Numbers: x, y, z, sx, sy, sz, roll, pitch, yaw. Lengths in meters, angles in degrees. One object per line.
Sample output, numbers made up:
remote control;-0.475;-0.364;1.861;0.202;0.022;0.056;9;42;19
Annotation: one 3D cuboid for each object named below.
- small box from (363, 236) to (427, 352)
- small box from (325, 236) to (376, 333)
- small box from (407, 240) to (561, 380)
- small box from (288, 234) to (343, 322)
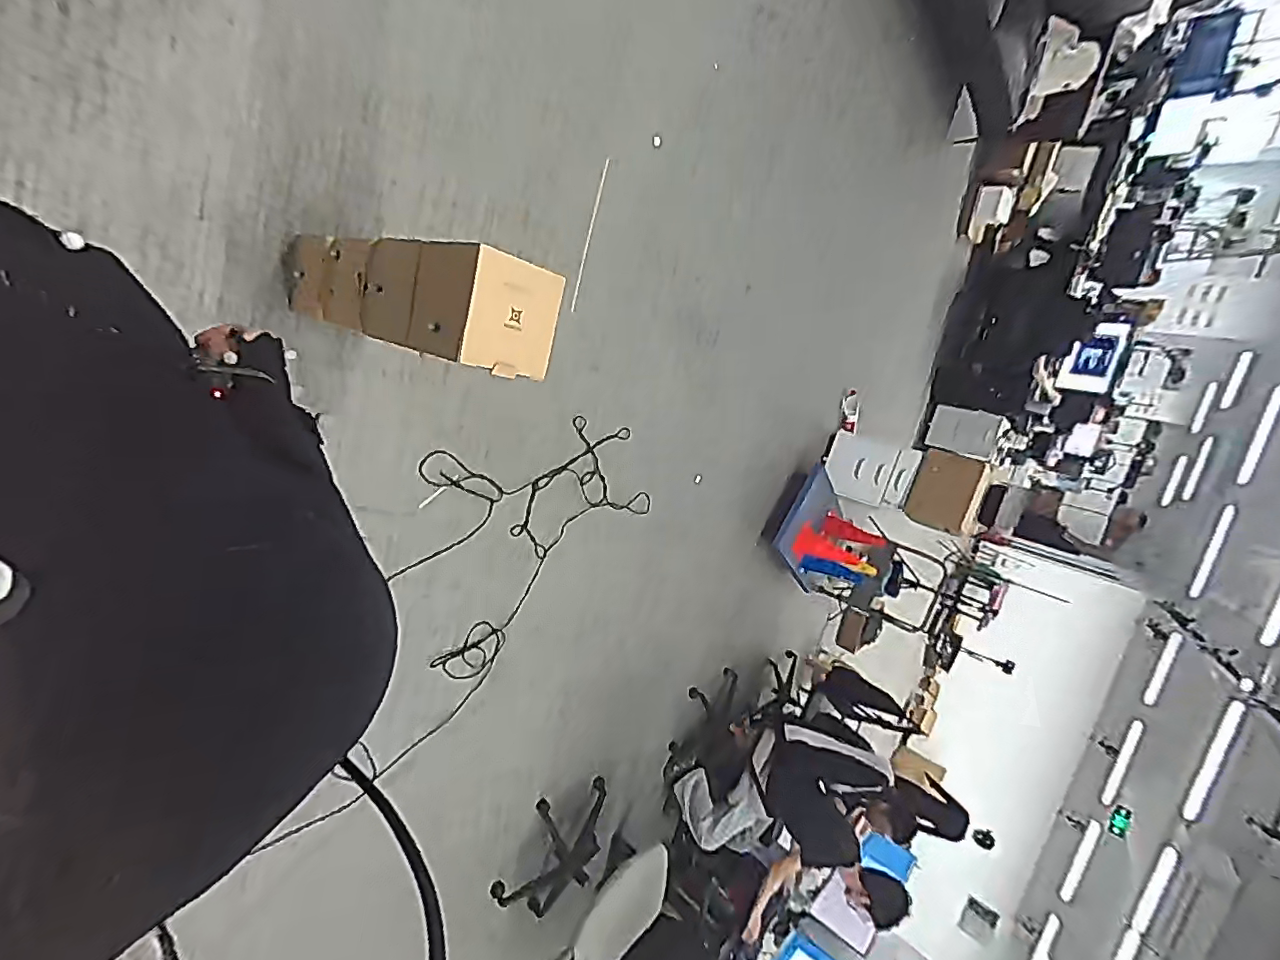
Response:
small box;-0.380;-0.326;0.981;0.168;0.176;0.179;1;107;-51
small box;-0.502;-0.373;1.078;0.179;0.176;0.168;0;107;-51
small box;-0.259;-0.276;0.883;0.168;0.176;0.179;1;106;-51
small box;-0.630;-0.421;1.170;0.179;0.176;0.168;0;106;-49
